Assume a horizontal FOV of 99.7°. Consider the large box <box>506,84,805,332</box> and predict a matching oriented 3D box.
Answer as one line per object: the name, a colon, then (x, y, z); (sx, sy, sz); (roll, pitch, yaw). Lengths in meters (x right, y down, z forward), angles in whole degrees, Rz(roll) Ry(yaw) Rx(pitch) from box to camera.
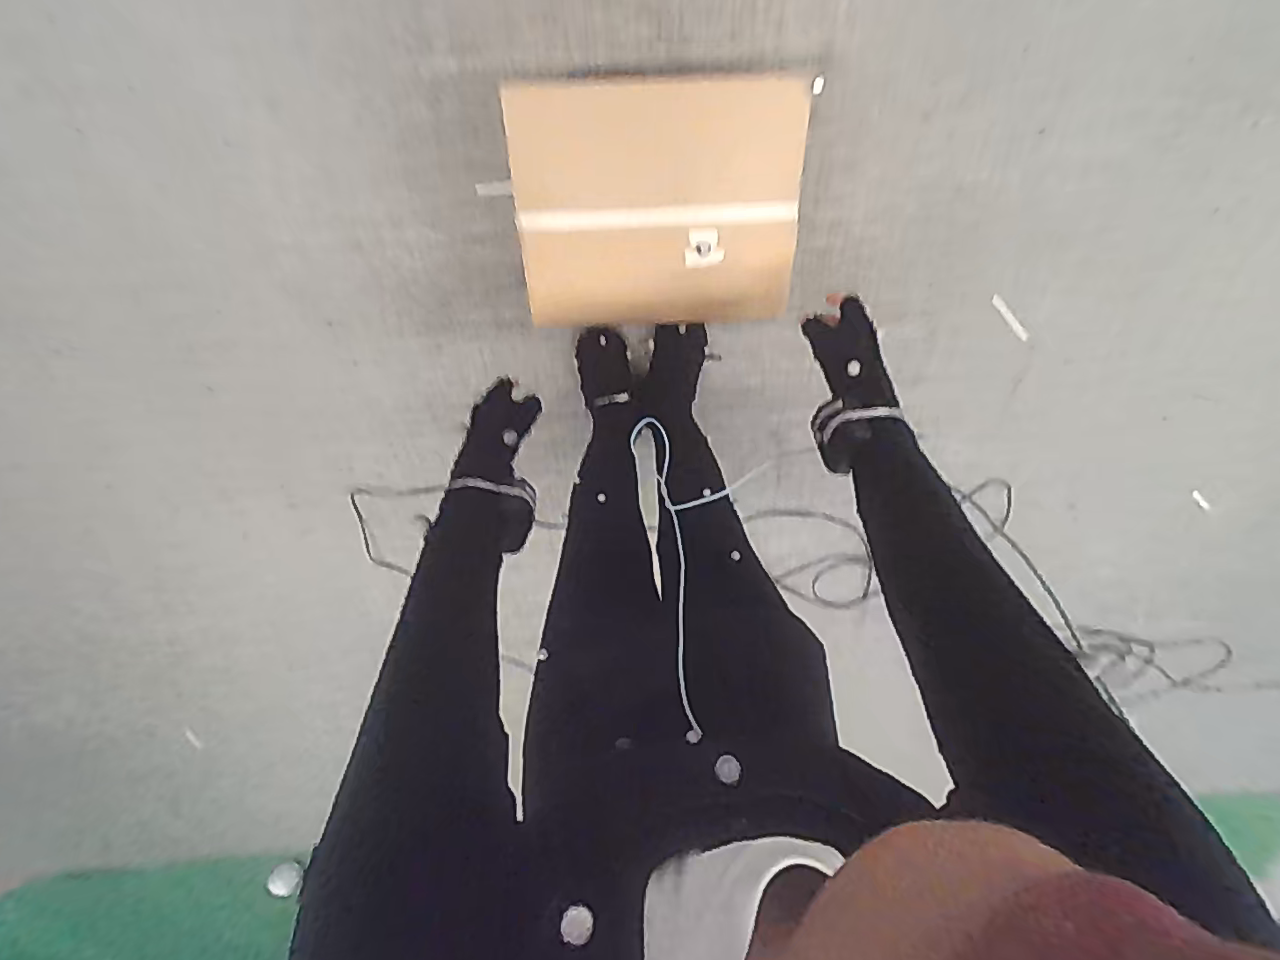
large box: (0.020, -0.453, 0.915); (0.408, 0.320, 0.320); (-2, 122, -1)
